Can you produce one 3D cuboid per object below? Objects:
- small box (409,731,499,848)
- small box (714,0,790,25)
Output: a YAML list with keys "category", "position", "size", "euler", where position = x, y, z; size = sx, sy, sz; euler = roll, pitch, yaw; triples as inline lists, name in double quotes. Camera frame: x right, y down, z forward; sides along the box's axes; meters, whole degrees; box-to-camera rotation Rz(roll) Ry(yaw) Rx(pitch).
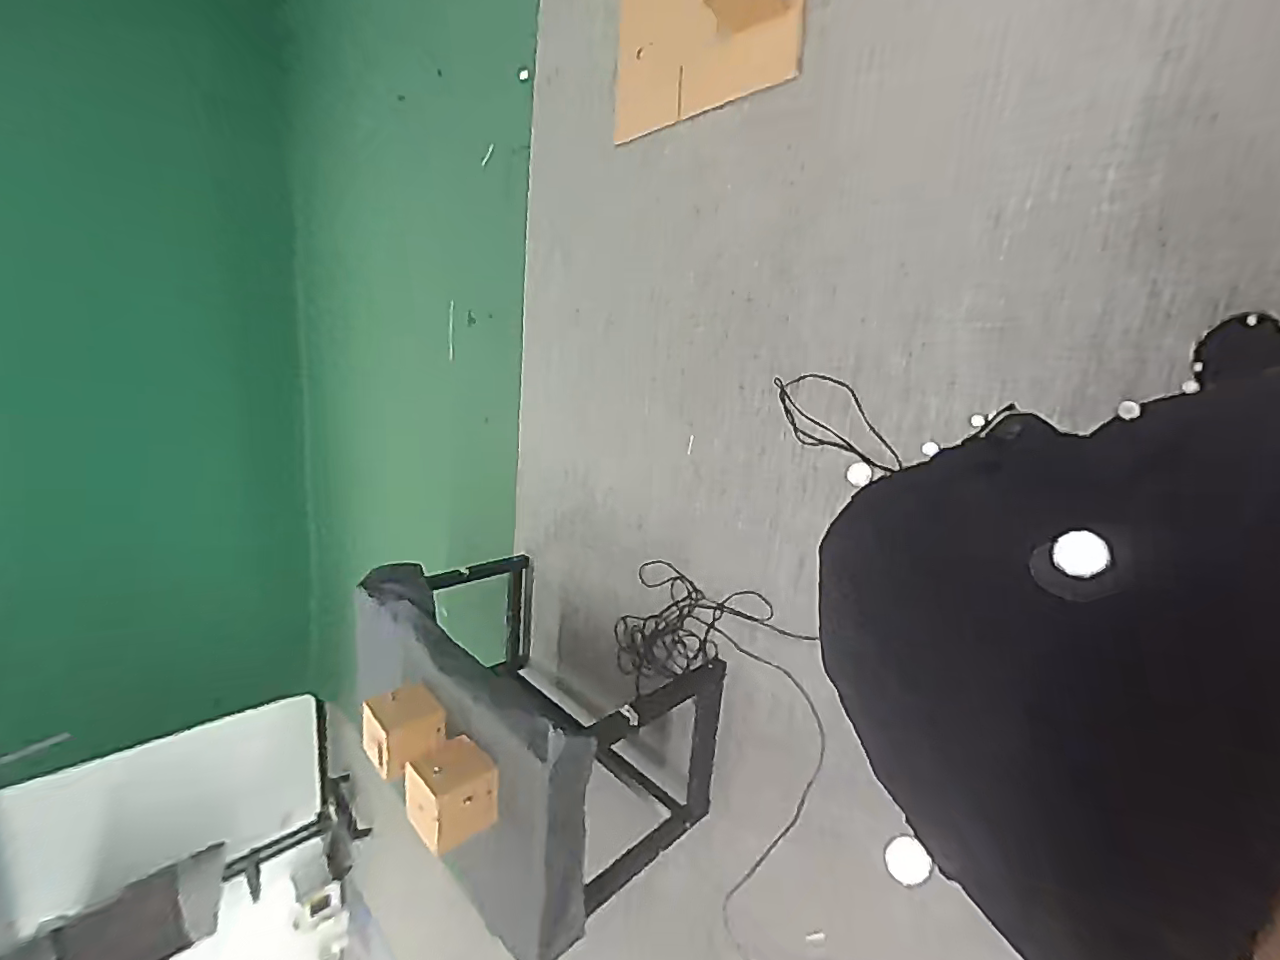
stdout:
- category: "small box"
  position: [-0.479, 0.783, 1.395]
  size: [0.179, 0.176, 0.168]
  euler: [16, 105, 44]
- category: "small box"
  position: [0.285, -1.316, 1.377]
  size: [0.179, 0.176, 0.168]
  euler: [15, 105, 42]
